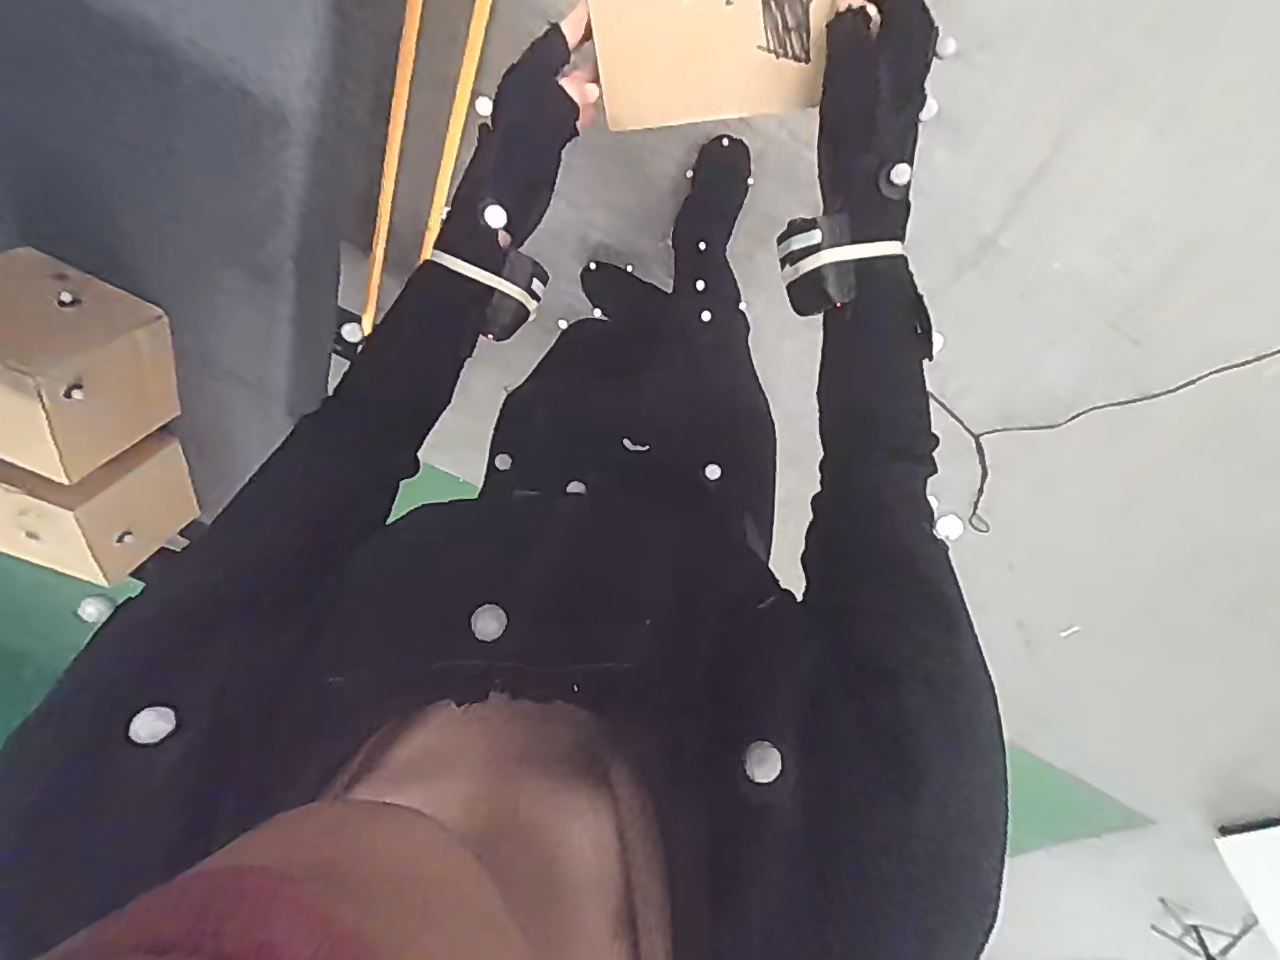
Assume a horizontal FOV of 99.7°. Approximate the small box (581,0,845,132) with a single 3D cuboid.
[{"bbox_3d":[0.057,-0.384,0.400,0.179,0.176,0.168,3,138,13],"label":"small box"}]
